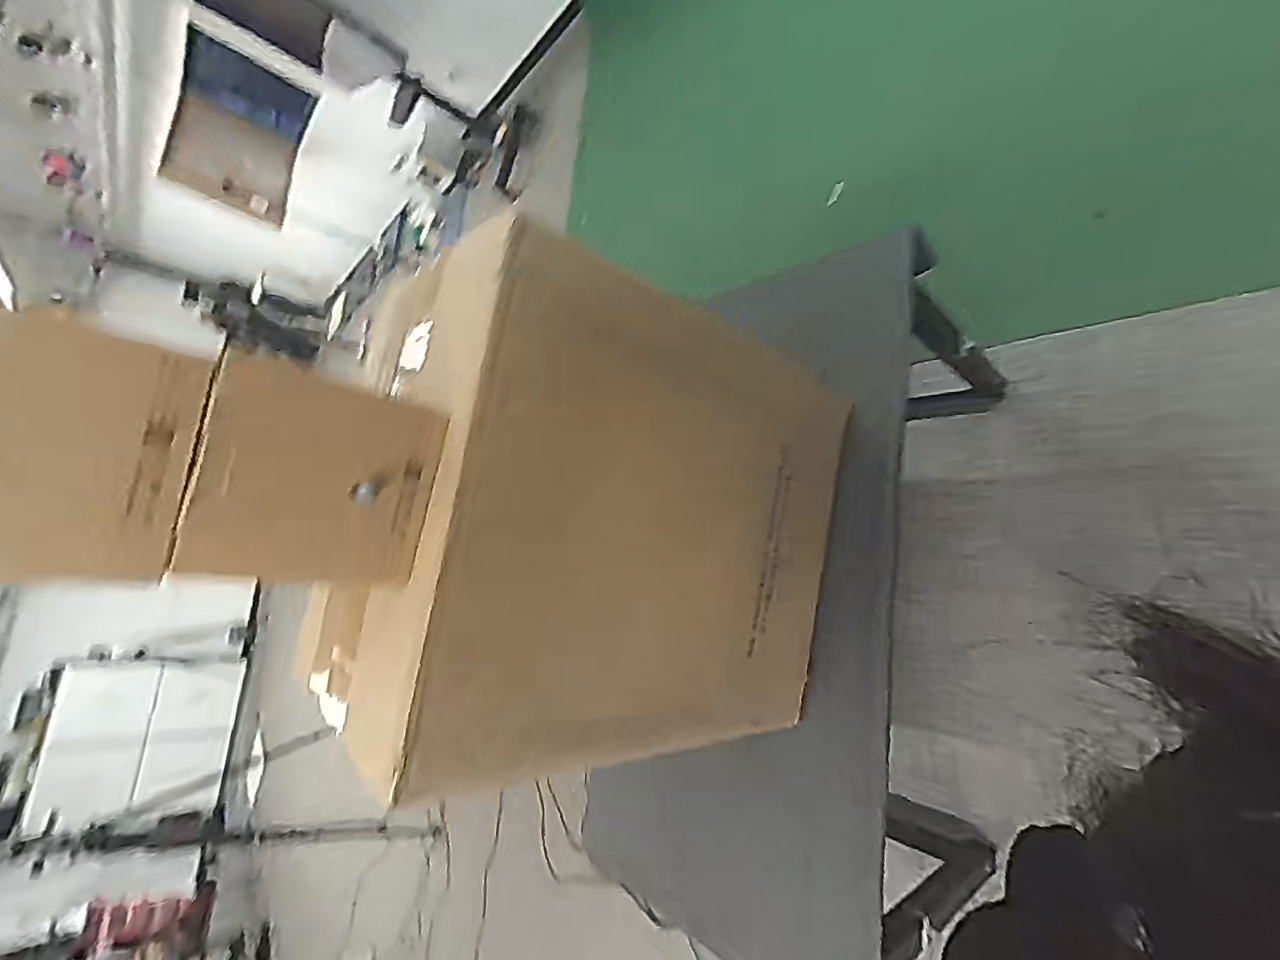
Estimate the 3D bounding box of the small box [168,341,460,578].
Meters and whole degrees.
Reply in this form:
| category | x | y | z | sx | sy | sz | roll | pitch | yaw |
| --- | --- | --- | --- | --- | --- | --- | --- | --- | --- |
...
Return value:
| category | x | y | z | sx | sy | sz | roll | pitch | yaw |
| --- | --- | --- | --- | --- | --- | --- | --- | --- | --- |
| small box | -0.289 | -0.014 | 0.483 | 0.179 | 0.176 | 0.168 | 12 | 88 | 46 |
